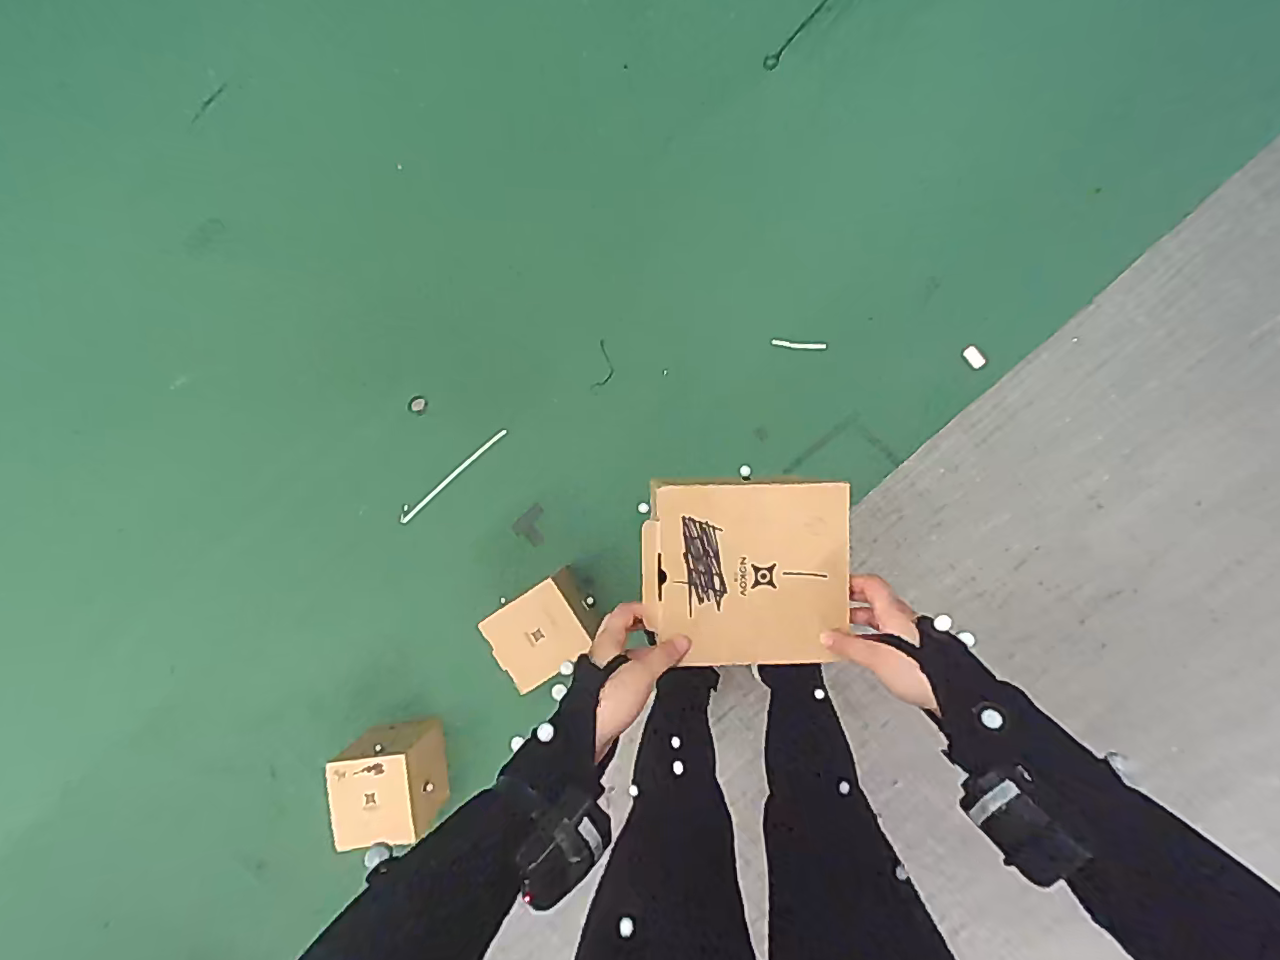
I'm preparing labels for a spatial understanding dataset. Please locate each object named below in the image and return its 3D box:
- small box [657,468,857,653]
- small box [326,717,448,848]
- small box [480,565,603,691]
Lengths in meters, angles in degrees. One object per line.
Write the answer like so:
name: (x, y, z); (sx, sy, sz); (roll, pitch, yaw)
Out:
small box: (0.108, 0.072, 0.569); (0.179, 0.176, 0.168); (-1, 93, -2)
small box: (-0.517, 0.622, 1.128); (0.168, 0.176, 0.179); (-8, 89, 3)
small box: (-0.193, 0.296, 1.117); (0.179, 0.176, 0.168); (-33, 89, 1)
